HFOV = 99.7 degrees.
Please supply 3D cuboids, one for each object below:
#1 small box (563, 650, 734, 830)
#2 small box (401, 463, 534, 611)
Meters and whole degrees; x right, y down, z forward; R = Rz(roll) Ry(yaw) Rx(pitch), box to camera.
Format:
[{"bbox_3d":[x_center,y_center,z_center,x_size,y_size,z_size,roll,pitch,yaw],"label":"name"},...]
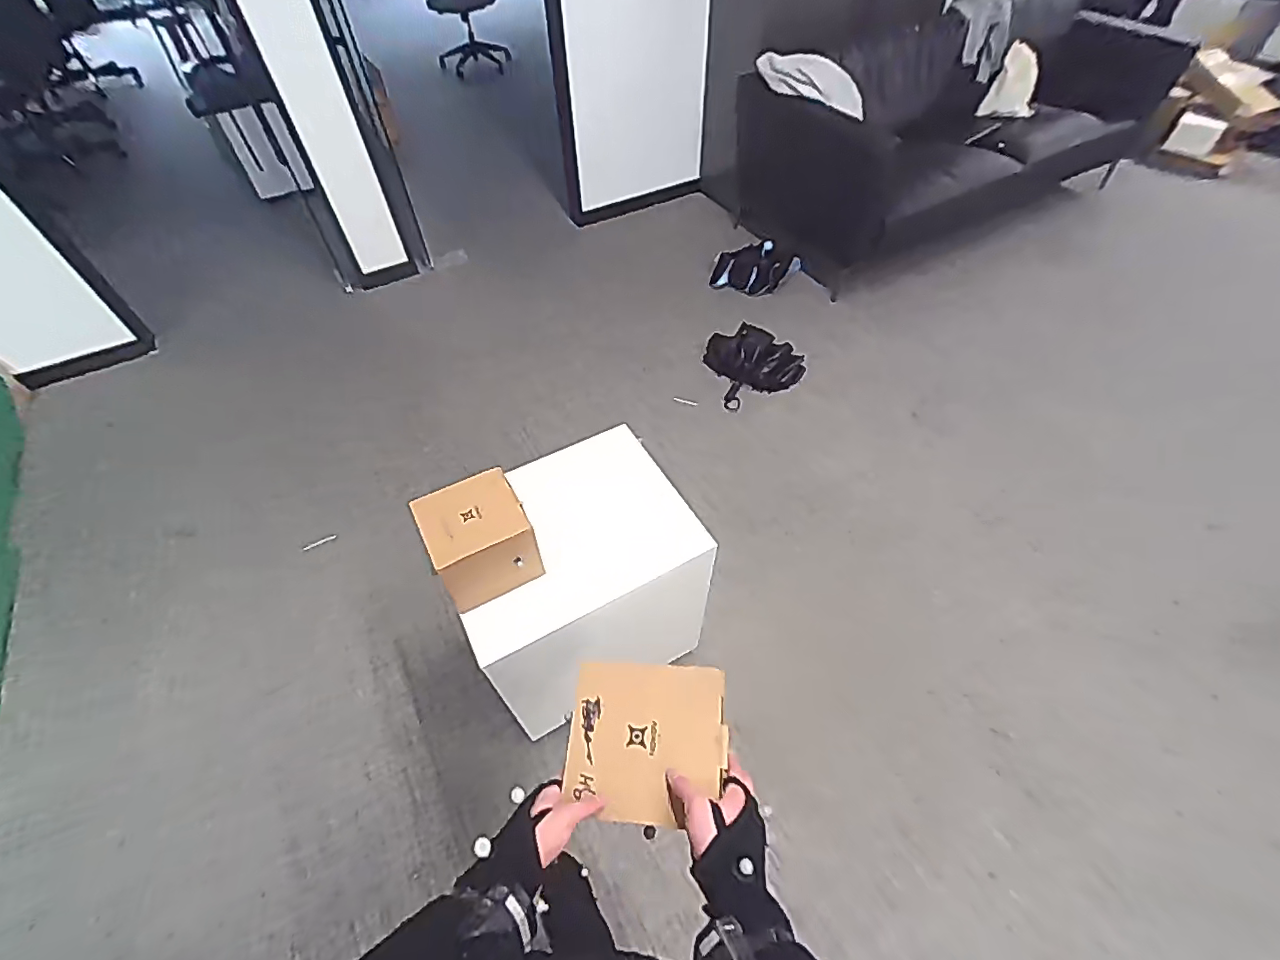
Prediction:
[{"bbox_3d":[0.018,0.317,0.659,0.179,0.176,0.168,3,59,6],"label":"small box"},{"bbox_3d":[-0.305,0.106,0.989,0.179,0.176,0.168,-25,55,-21],"label":"small box"}]
